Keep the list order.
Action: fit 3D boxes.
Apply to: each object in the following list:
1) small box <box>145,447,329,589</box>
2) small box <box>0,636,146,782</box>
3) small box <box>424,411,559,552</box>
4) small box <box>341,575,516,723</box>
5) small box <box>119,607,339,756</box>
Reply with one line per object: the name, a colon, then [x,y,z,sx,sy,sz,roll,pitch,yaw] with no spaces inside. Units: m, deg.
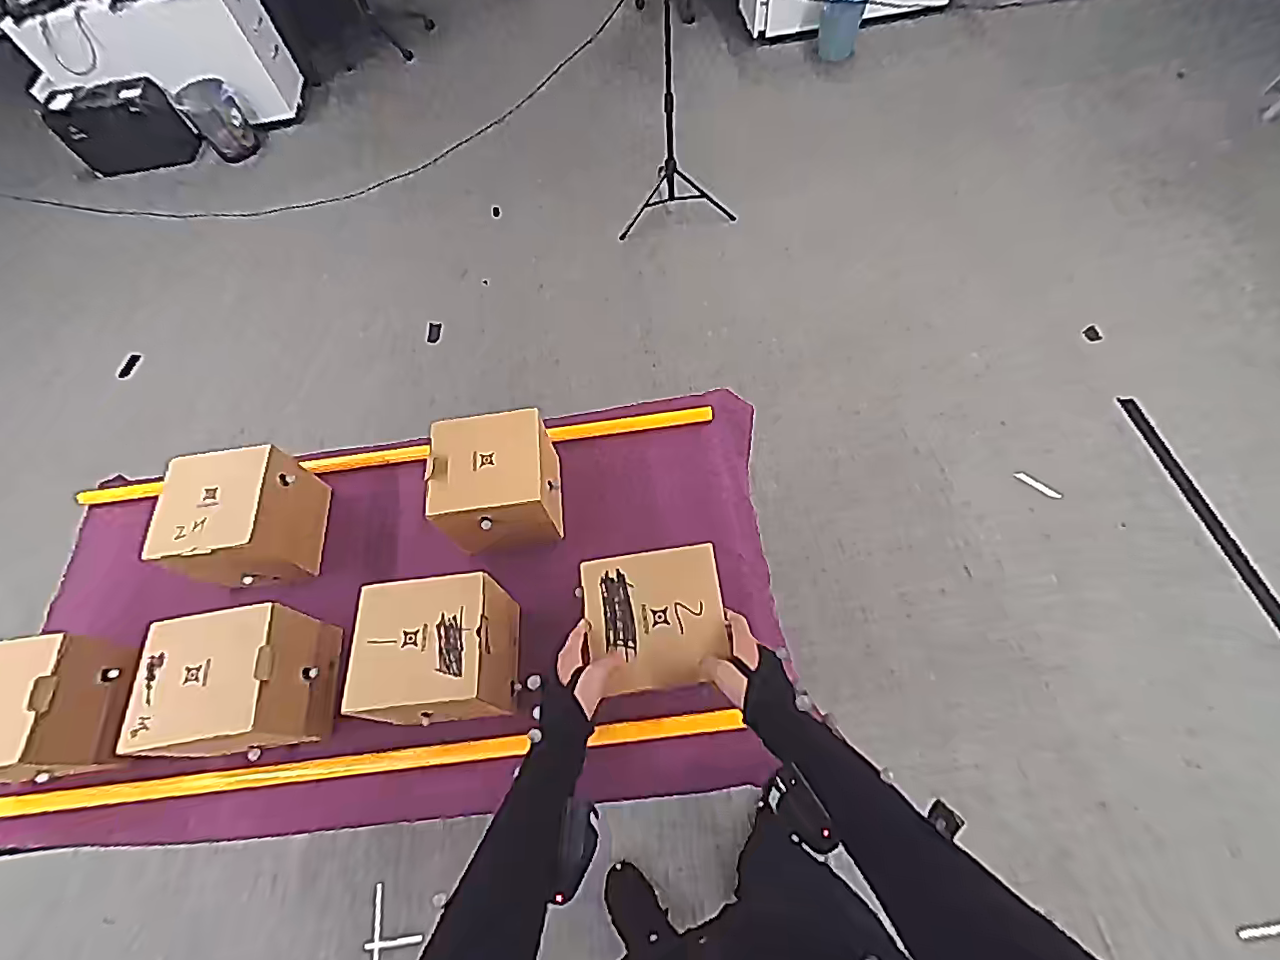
small box: [-0.653,0.069,0.904,0.168,0.176,0.179,-8,64,1]
small box: [-0.859,0.334,0.781,0.179,0.176,0.168,-8,61,-1]
small box: [-0.234,0.008,0.898,0.179,0.176,0.168,-8,63,2]
small box: [-0.285,0.247,0.775,0.179,0.176,0.168,-7,60,3]
small box: [-0.566,0.294,0.777,0.179,0.176,0.168,-9,62,0]
